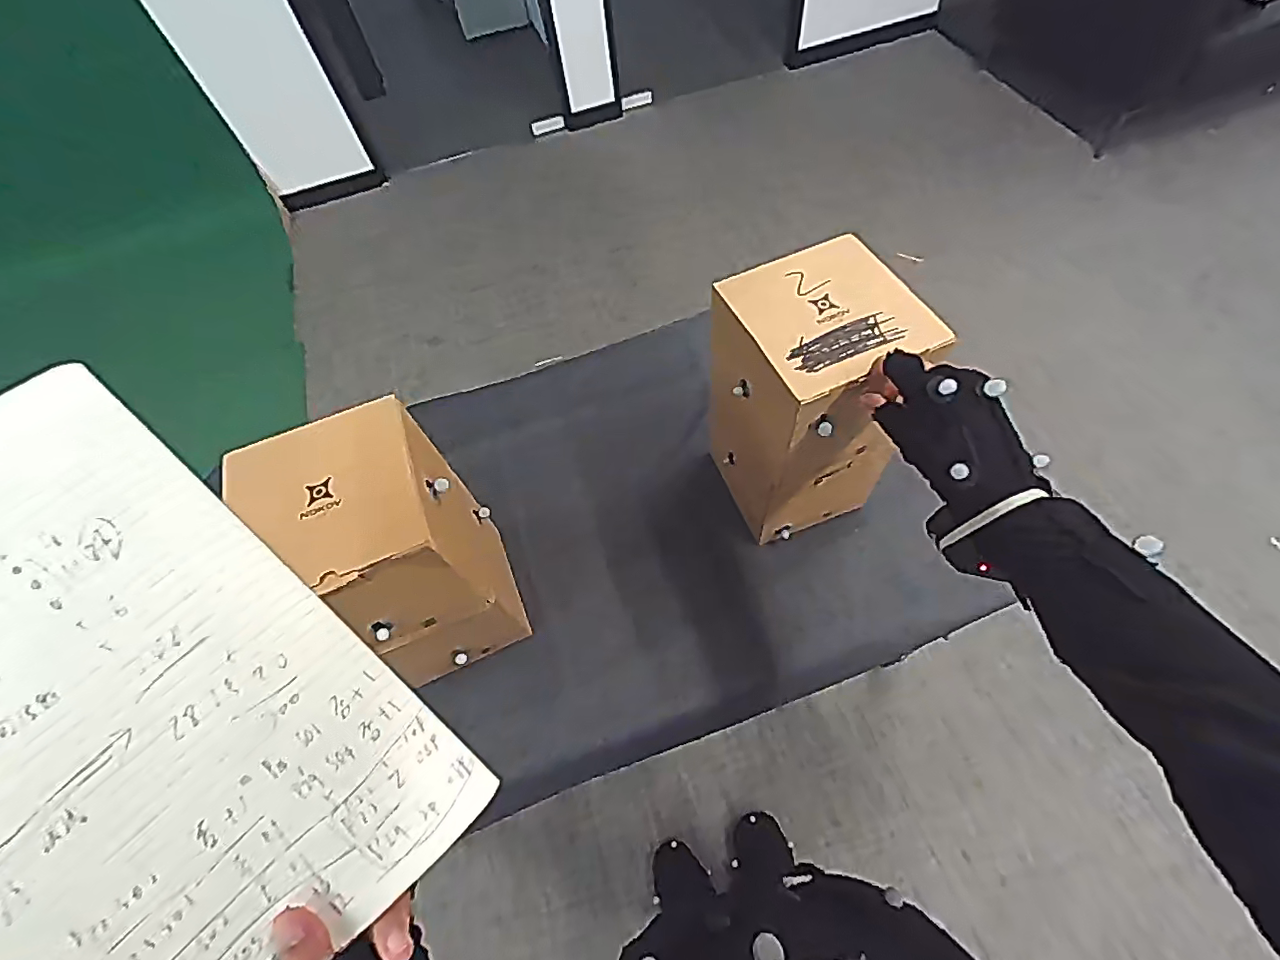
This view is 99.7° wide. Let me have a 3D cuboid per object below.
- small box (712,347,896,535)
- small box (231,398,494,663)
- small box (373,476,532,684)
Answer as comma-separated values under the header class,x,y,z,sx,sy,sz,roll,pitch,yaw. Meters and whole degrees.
class,x,y,z,sx,sy,sz,roll,pitch,yaw
small box,0.208,-0.043,0.738,0.168,0.176,0.179,-20,59,-6
small box,-0.265,0.056,0.540,0.168,0.176,0.179,-22,60,-8
small box,-0.254,0.131,0.683,0.168,0.176,0.179,-23,60,-7
